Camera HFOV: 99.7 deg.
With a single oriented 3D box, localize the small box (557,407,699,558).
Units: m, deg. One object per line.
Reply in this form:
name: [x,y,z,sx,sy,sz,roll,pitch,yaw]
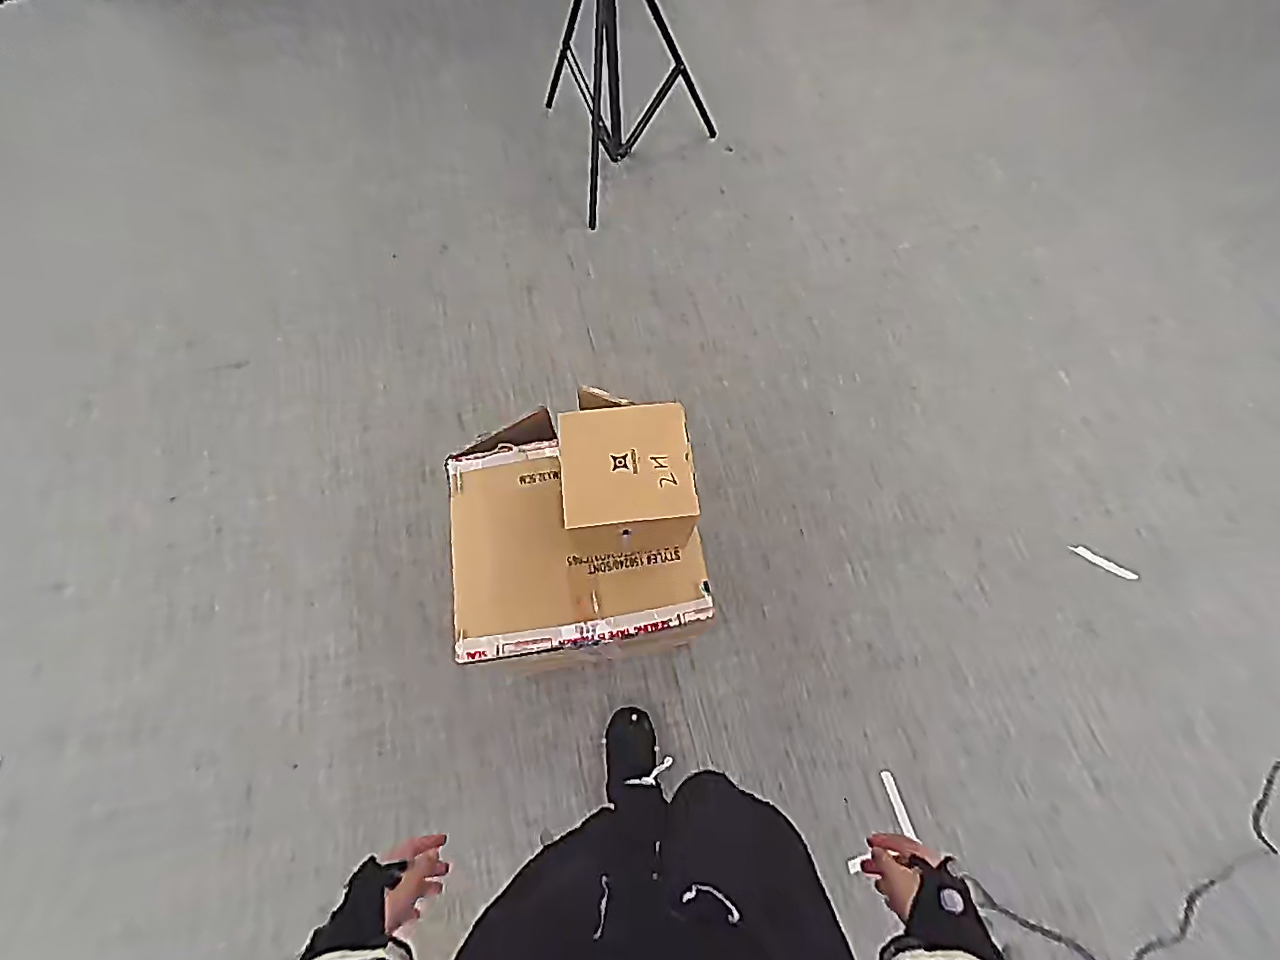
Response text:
small box: [-0.019,0.012,0.786,0.179,0.176,0.168,-6,70,-4]
